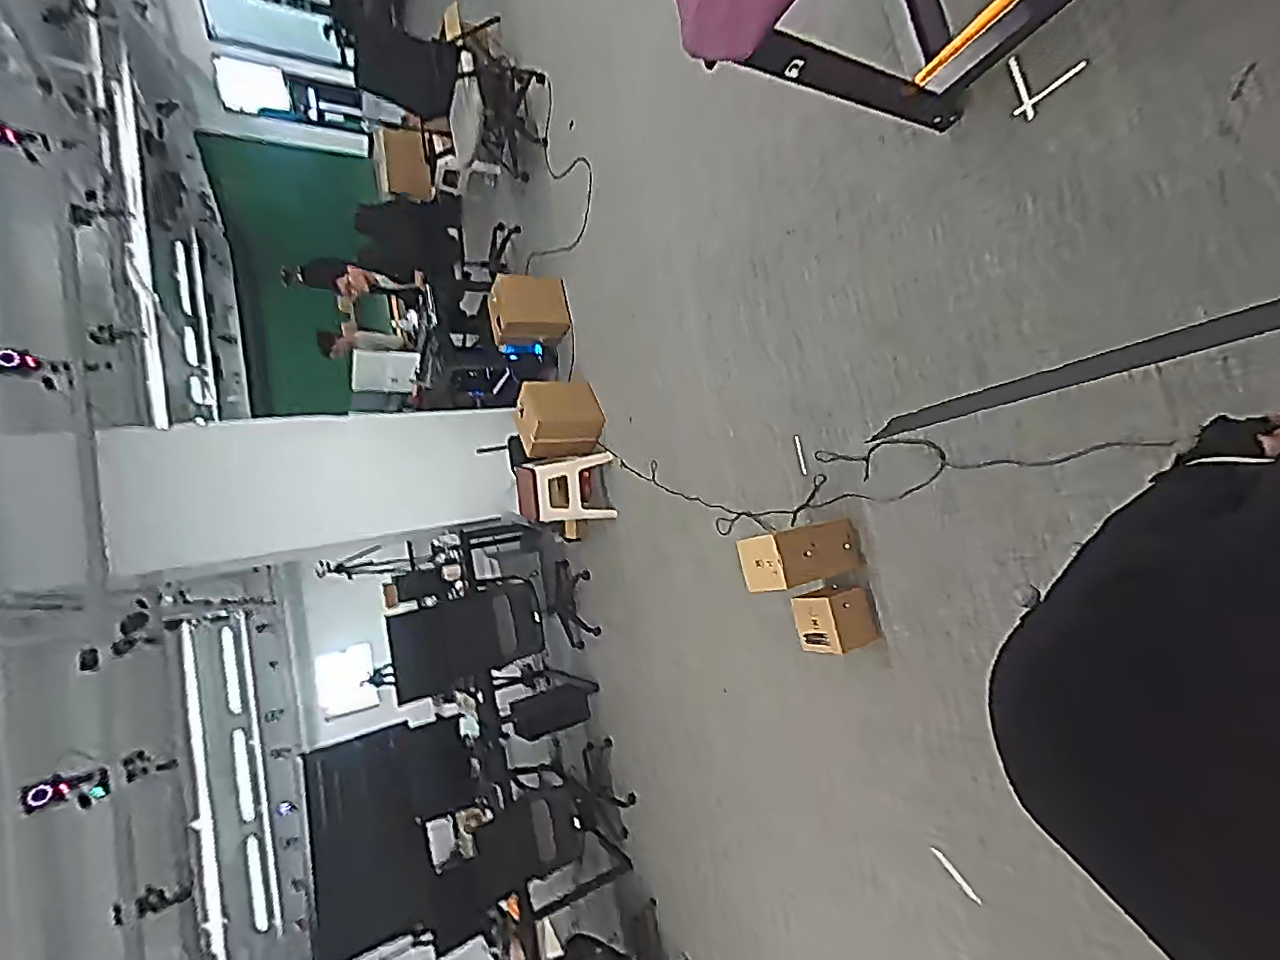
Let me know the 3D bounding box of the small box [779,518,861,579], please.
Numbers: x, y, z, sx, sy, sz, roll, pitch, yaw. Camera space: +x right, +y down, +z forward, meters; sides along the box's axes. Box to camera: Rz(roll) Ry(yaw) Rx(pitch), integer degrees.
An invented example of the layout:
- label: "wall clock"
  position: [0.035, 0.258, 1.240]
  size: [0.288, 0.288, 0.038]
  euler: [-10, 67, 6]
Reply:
- label: "small box"
  position: [0.574, 0.223, 1.740]
  size: [0.179, 0.176, 0.168]
  euler: [-22, 78, 58]

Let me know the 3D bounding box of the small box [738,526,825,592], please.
- label: "small box"
  position: [0.433, 0.243, 1.656]
  size: [0.179, 0.176, 0.168]
  euler: [-25, 76, 58]
